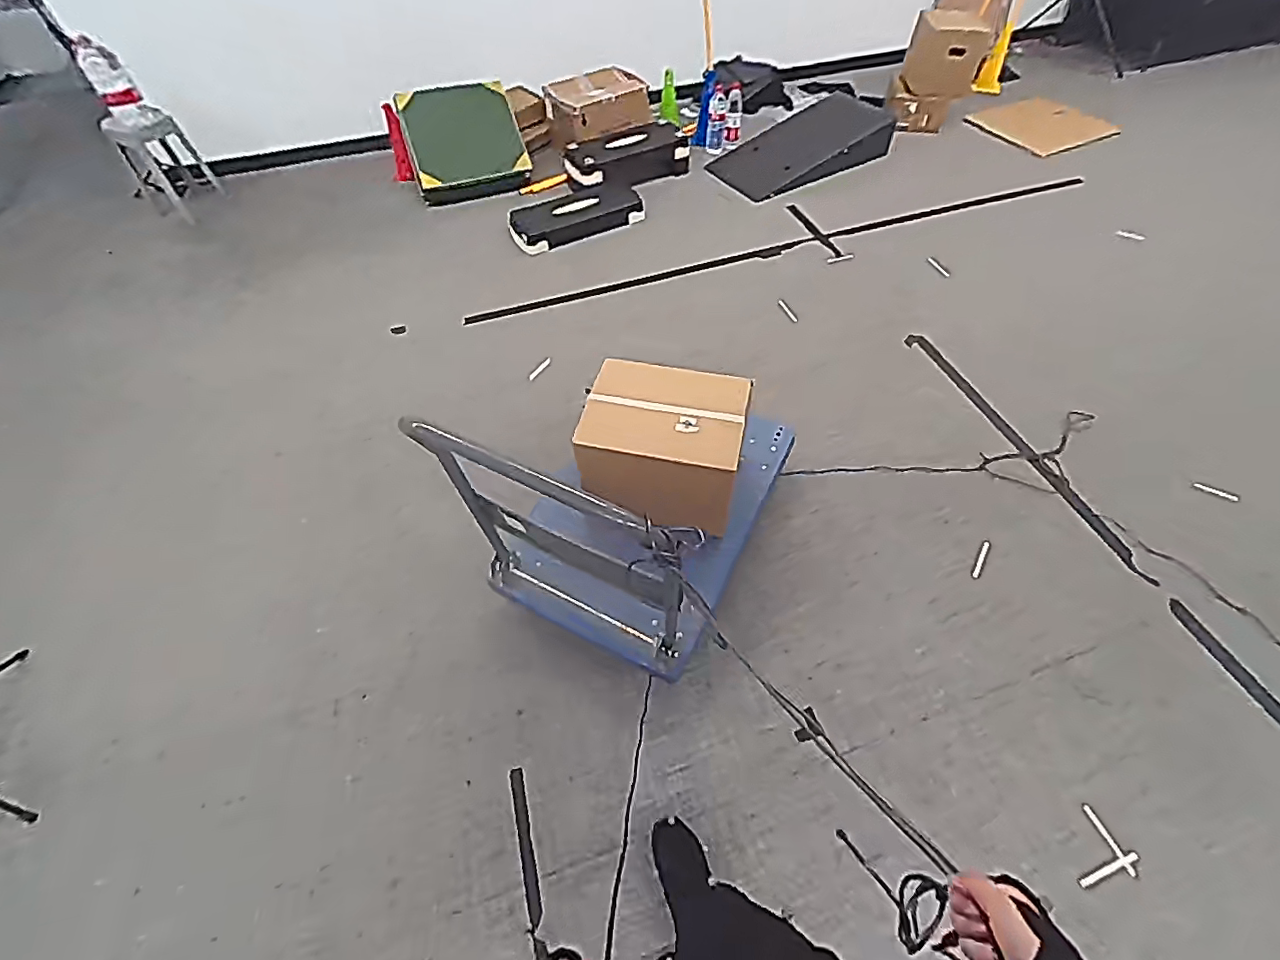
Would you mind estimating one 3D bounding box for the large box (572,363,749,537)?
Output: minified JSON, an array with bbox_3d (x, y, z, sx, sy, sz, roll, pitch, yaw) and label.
[{"bbox_3d":[0.060,-0.079,1.479,0.408,0.320,0.320,11,56,9],"label":"large box"}]
